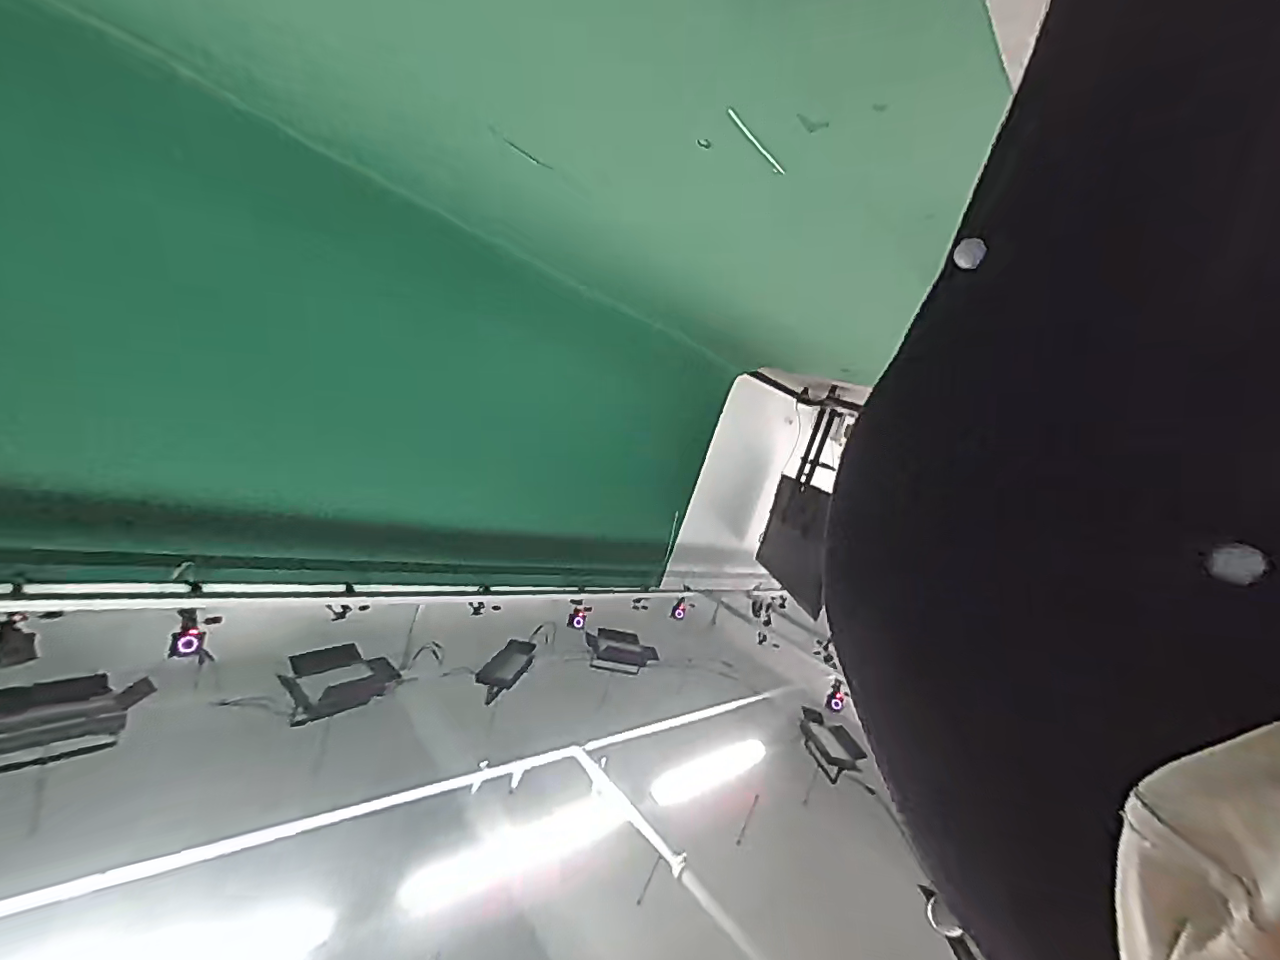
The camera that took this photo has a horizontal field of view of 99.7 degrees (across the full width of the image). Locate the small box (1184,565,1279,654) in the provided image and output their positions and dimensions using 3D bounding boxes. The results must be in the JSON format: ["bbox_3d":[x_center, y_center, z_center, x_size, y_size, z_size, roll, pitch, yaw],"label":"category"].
[{"bbox_3d":[1.570,0.330,1.412,0.179,0.176,0.168,11,-170,-45],"label":"small box"}]
